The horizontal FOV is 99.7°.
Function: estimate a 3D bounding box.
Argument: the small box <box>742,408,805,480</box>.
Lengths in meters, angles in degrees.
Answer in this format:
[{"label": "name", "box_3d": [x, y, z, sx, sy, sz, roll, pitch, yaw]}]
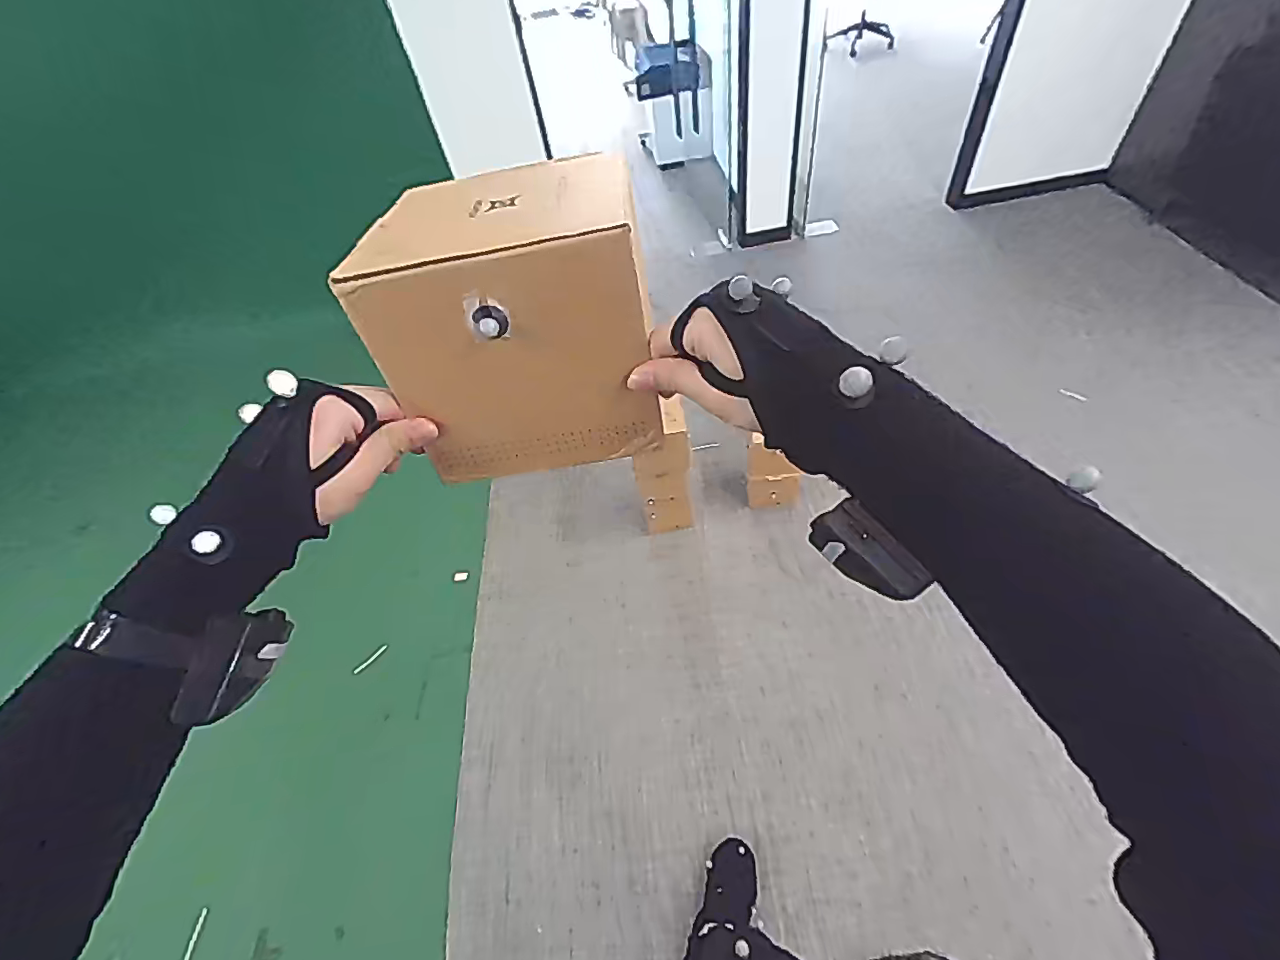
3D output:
[{"label": "small box", "box_3d": [0.439, -0.117, 1.805, 0.179, 0.176, 0.168, -5, 50, 6]}]

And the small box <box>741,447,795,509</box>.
[{"label": "small box", "box_3d": [0.450, -0.007, 1.924, 0.168, 0.176, 0.179, -3, 51, 6]}]

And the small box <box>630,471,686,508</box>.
[{"label": "small box", "box_3d": [0.054, -0.025, 1.789, 0.168, 0.176, 0.179, -11, 49, 0]}]

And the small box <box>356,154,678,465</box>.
[{"label": "small box", "box_3d": [-0.071, -0.127, 0.420, 0.179, 0.176, 0.168, -7, 43, 5]}]

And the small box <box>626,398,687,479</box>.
[{"label": "small box", "box_3d": [0.042, -0.122, 1.655, 0.179, 0.176, 0.168, -10, 50, 0]}]
